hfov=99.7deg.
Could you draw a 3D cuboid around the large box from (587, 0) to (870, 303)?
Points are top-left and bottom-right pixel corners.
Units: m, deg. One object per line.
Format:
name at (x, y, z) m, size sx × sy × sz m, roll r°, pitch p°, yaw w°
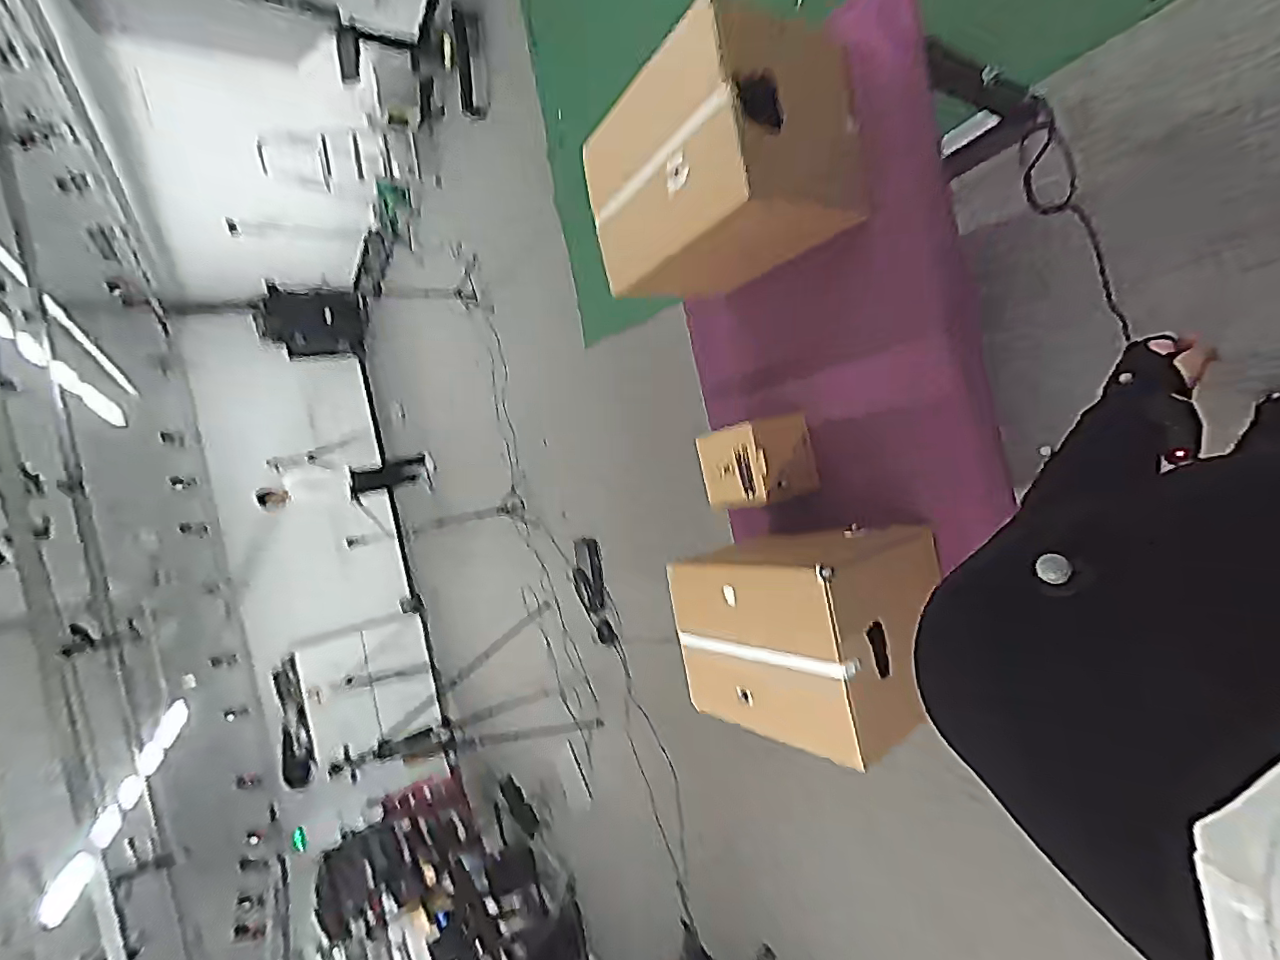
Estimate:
large box at (0.150, -0.560, 1.028) m, size 0.408 × 0.320 × 0.320 m, roll -11°, pitch 92°, yaw 56°
